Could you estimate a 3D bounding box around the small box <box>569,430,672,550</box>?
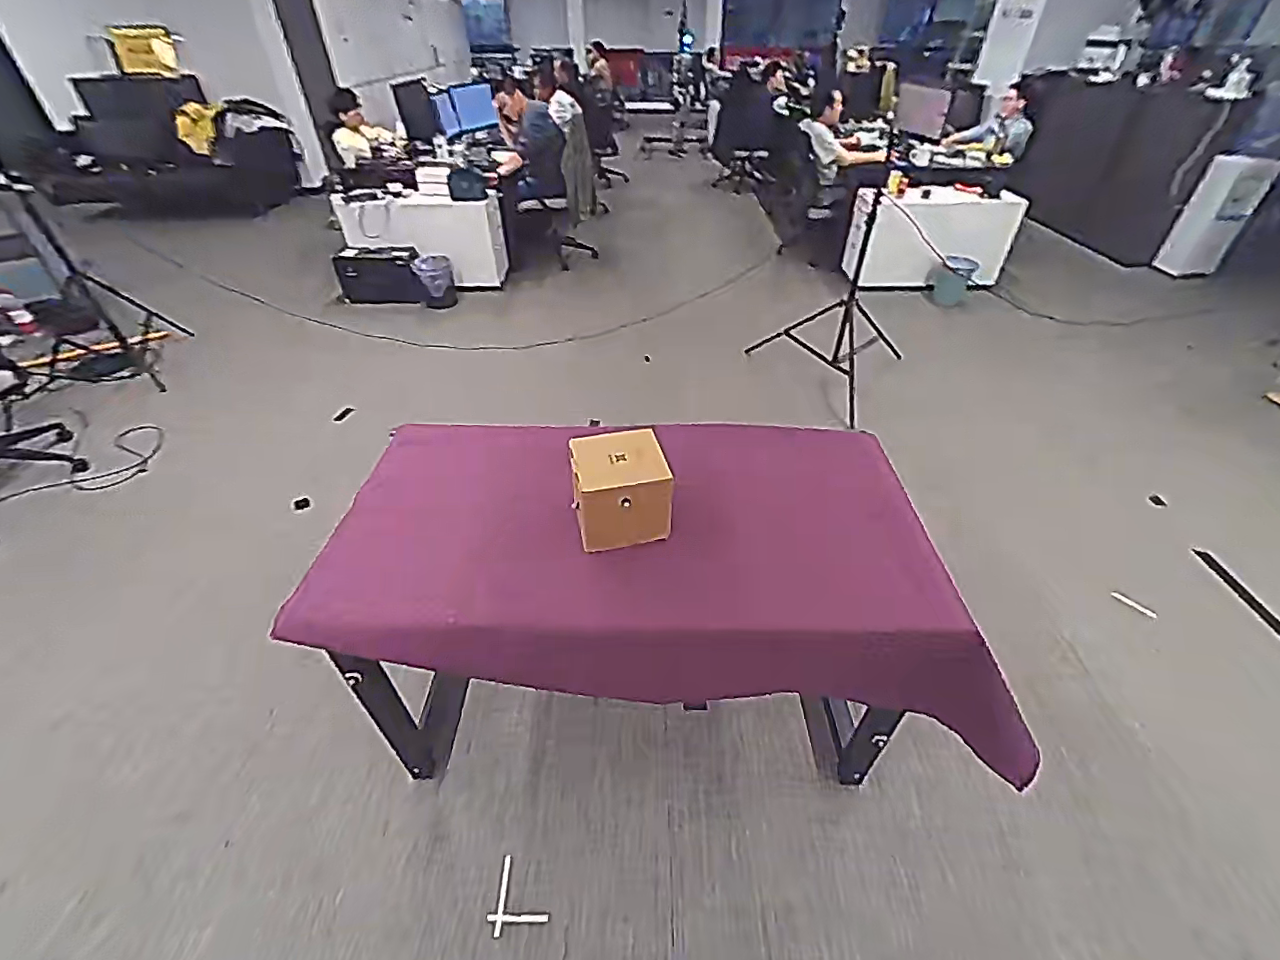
[{"bbox_3d":[-0.041,0.023,1.096,0.179,0.176,0.168,-9,42,-11],"label":"small box"}]
